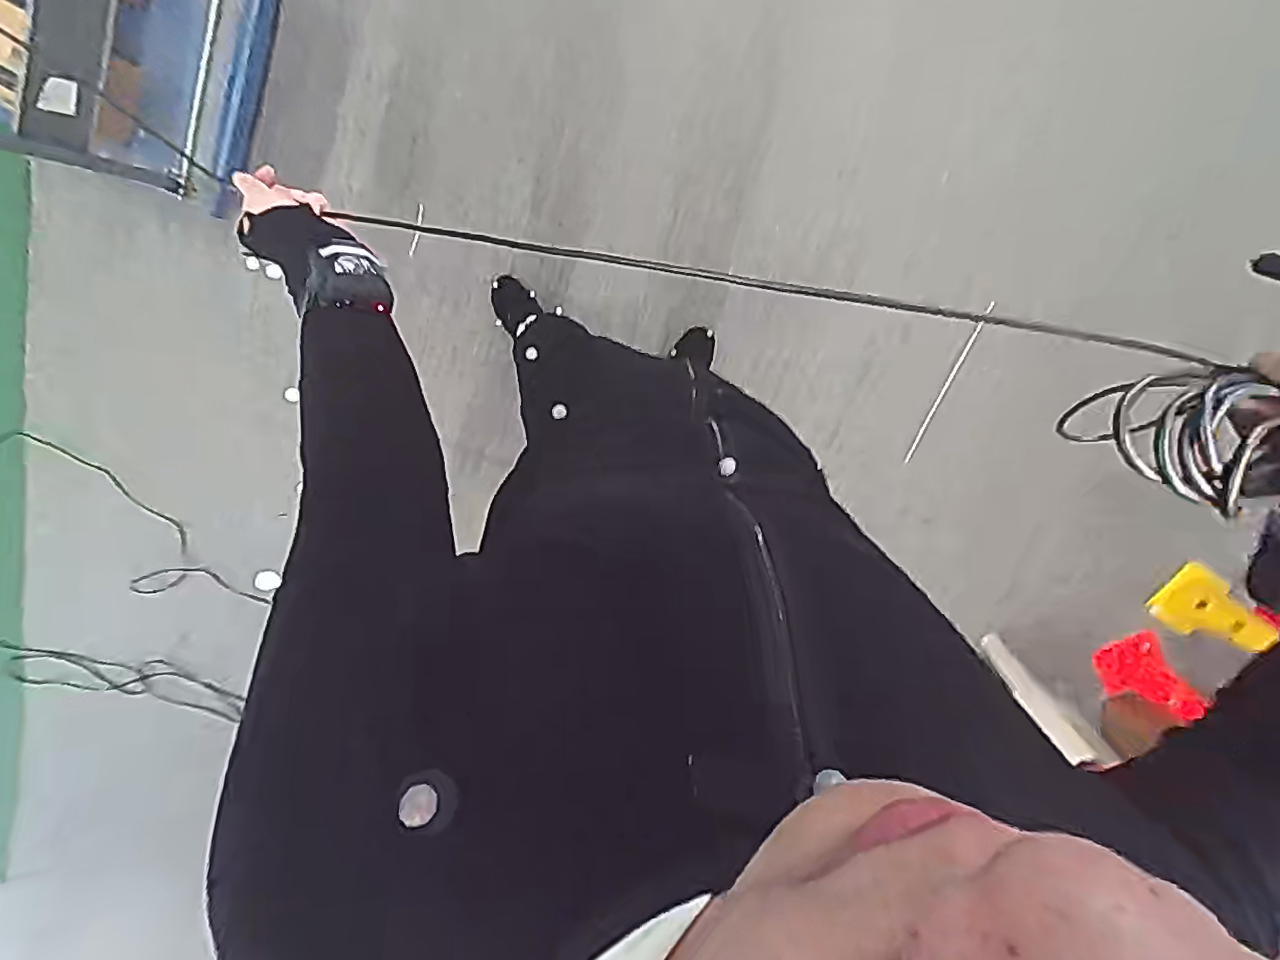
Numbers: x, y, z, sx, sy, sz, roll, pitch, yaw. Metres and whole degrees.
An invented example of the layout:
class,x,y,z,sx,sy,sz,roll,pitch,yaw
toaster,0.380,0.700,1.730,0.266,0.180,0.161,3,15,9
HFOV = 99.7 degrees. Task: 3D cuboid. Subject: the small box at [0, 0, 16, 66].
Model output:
class,x,y,z,sx,sy,sz,roll,pitch,yaw
small box,-1.436,-0.982,1.091,0.179,0.176,0.168,22,107,-6
